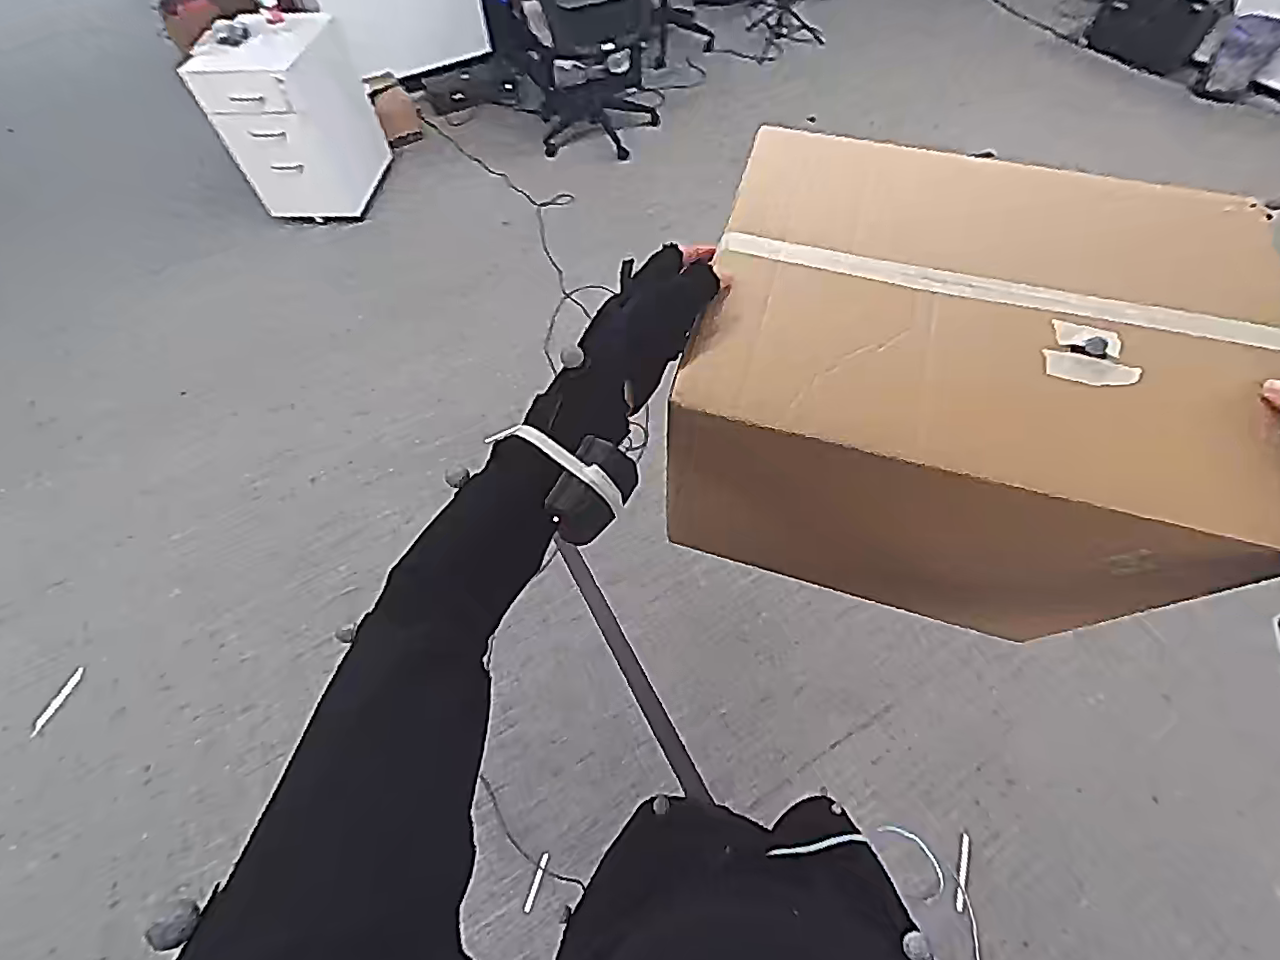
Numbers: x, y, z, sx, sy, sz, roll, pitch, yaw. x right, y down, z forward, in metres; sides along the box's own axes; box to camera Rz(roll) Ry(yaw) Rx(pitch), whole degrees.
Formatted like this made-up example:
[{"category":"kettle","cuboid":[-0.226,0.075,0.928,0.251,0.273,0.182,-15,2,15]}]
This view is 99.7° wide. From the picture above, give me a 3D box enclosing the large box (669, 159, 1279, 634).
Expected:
[{"category":"large box","cuboid":[0.258,-0.066,0.559,0.408,0.320,0.320,14,67,9]}]
